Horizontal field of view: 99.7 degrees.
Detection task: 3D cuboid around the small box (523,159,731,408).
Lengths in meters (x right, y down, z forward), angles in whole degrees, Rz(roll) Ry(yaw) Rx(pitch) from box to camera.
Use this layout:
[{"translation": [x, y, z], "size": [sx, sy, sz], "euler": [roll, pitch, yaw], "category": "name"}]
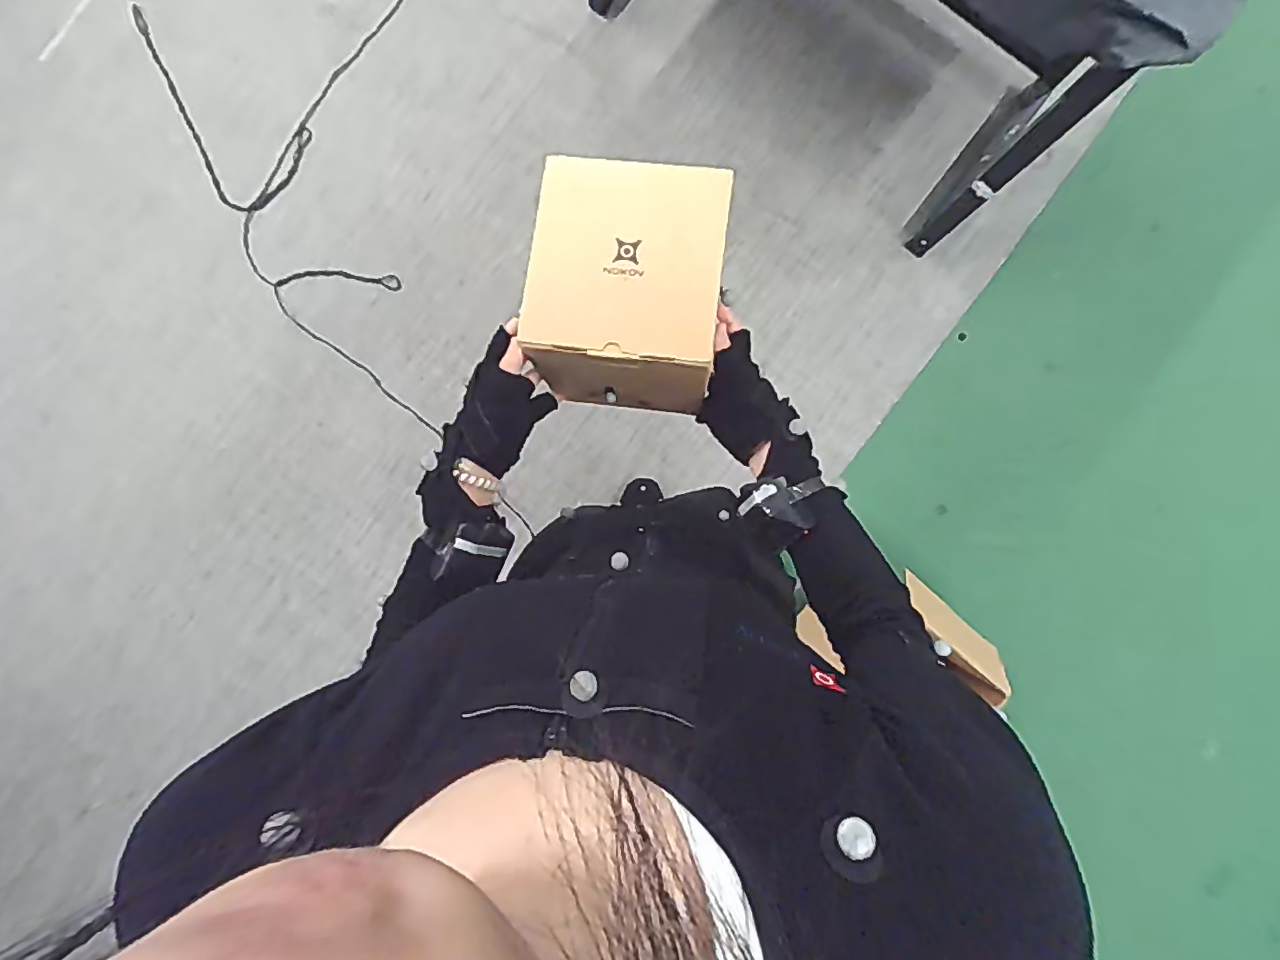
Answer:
[{"translation": [-0.008, -0.185, 0.552], "size": [0.168, 0.176, 0.179], "euler": [7, 85, 3], "category": "small box"}]
